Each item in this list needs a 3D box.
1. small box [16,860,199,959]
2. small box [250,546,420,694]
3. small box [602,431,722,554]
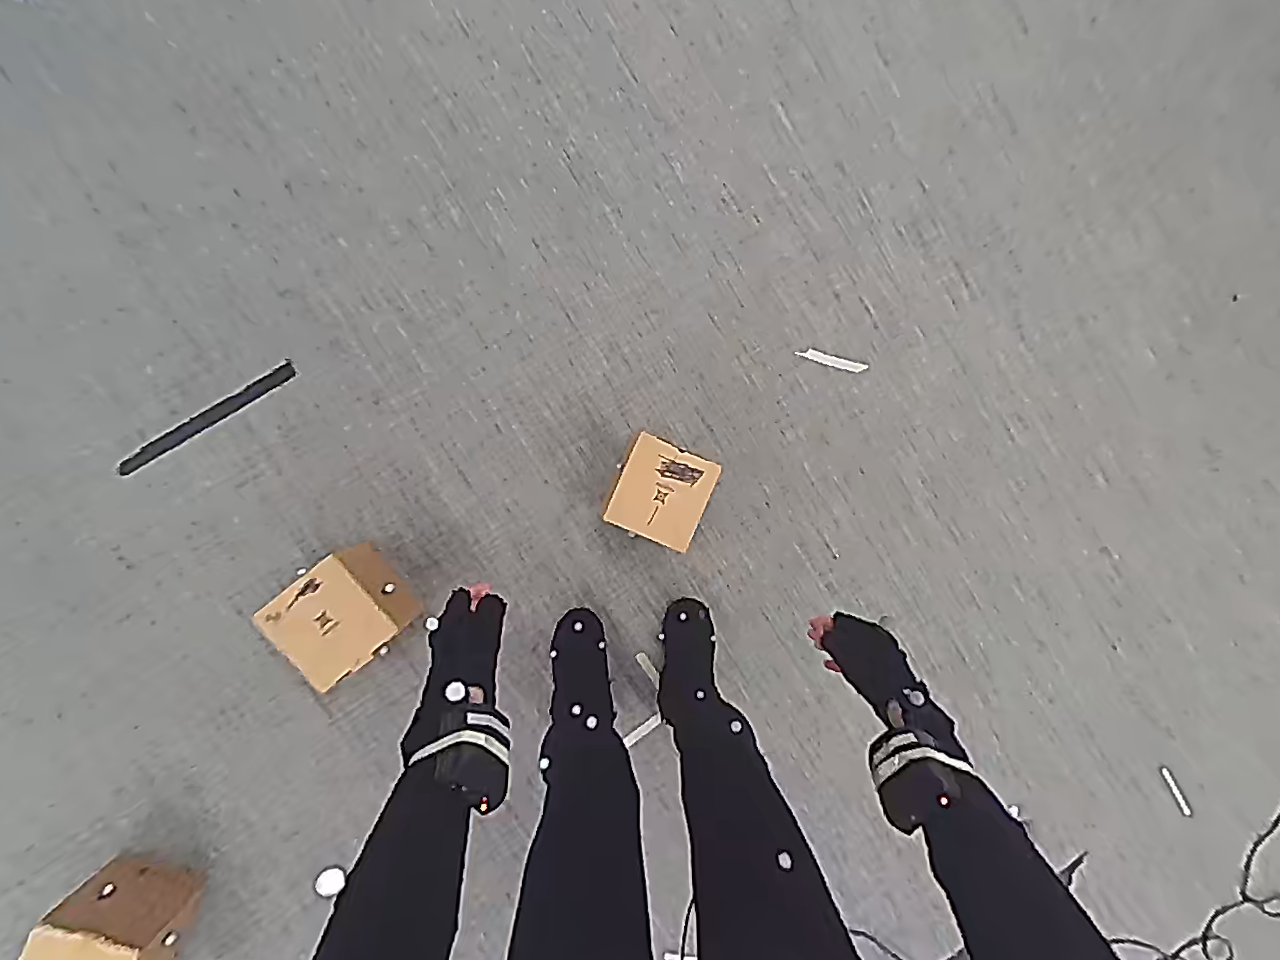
[{"bbox_3d":[-0.914,0.805,0.926,0.168,0.176,0.179,21,88,-5],"label":"small box"},{"bbox_3d":[-0.529,0.238,0.972,0.168,0.176,0.179,-40,96,-6],"label":"small box"},{"bbox_3d":[0.032,0.022,1.043,0.168,0.176,0.179,24,88,-6],"label":"small box"}]
